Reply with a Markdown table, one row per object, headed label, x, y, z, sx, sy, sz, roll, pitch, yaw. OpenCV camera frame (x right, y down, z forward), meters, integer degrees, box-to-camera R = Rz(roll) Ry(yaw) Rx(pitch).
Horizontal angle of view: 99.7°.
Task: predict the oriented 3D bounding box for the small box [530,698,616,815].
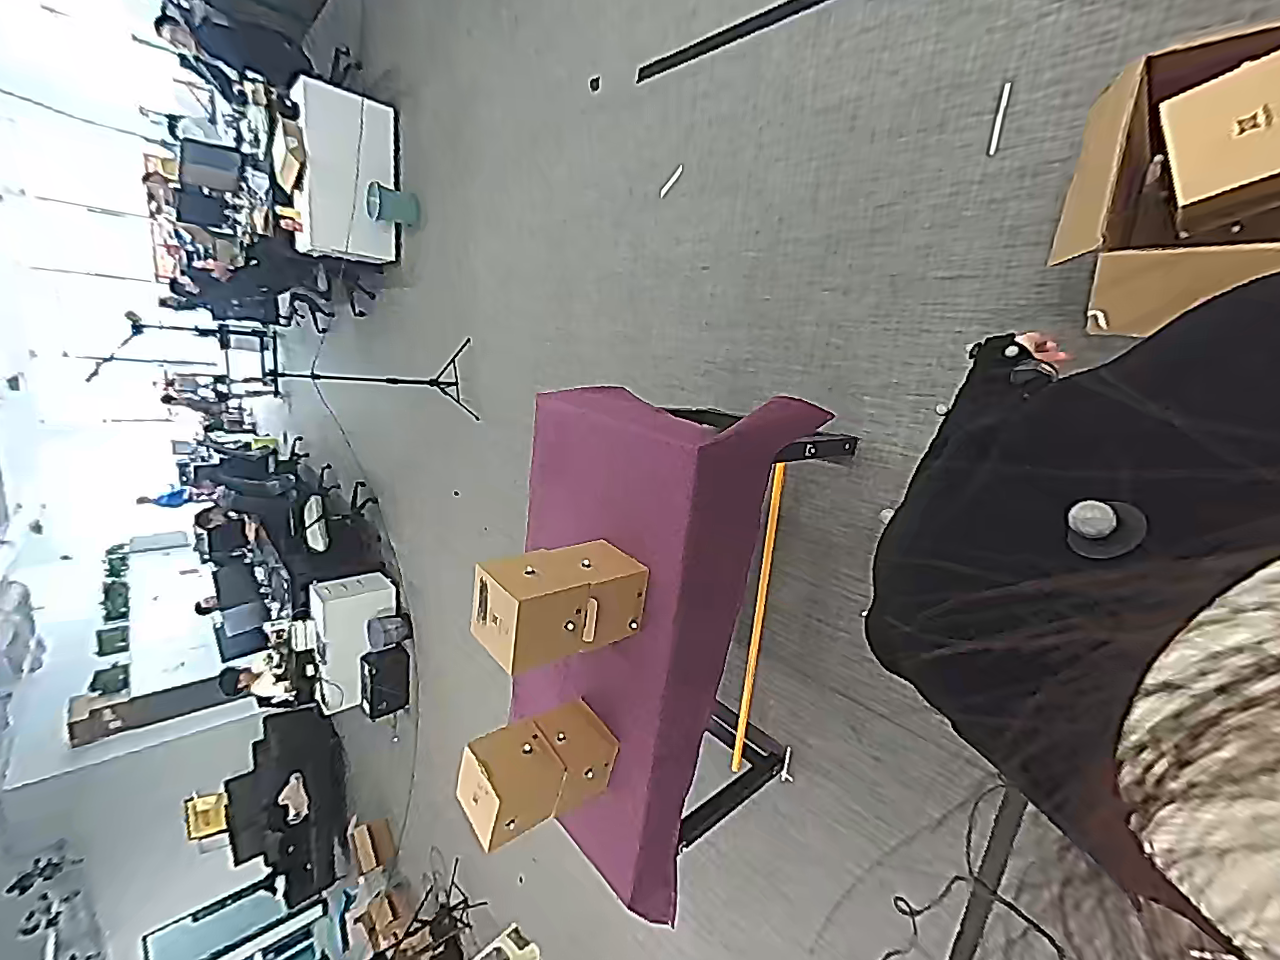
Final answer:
| label | x | y | z | sx | sy | sz | roll | pitch | yaw |
| --- | --- | --- | --- | --- | --- | --- | --- | --- | --- |
| small box | -0.185 | 0.687 | 1.367 | 0.179 | 0.176 | 0.168 | 35 | 118 | 40 |

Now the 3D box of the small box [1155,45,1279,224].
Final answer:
| label | x | y | z | sx | sy | sz | roll | pitch | yaw |
| --- | --- | --- | --- | --- | --- | --- | --- | --- | --- |
| small box | 0.919 | -0.520 | 0.824 | 0.179 | 0.176 | 0.168 | -11 | 89 | 44 |

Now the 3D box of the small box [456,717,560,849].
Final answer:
| label | x | y | z | sx | sy | sz | roll | pitch | yaw |
| --- | --- | --- | --- | --- | --- | --- | --- | --- | --- |
| small box | -0.306 | 0.695 | 1.256 | 0.168 | 0.176 | 0.179 | 35 | 118 | 38 |

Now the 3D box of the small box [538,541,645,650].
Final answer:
| label | x | y | z | sx | sy | sz | roll | pitch | yaw |
| --- | --- | --- | --- | --- | --- | --- | --- | --- | --- |
| small box | -0.110 | 0.250 | 1.228 | 0.179 | 0.176 | 0.168 | 25 | 113 | 44 |
